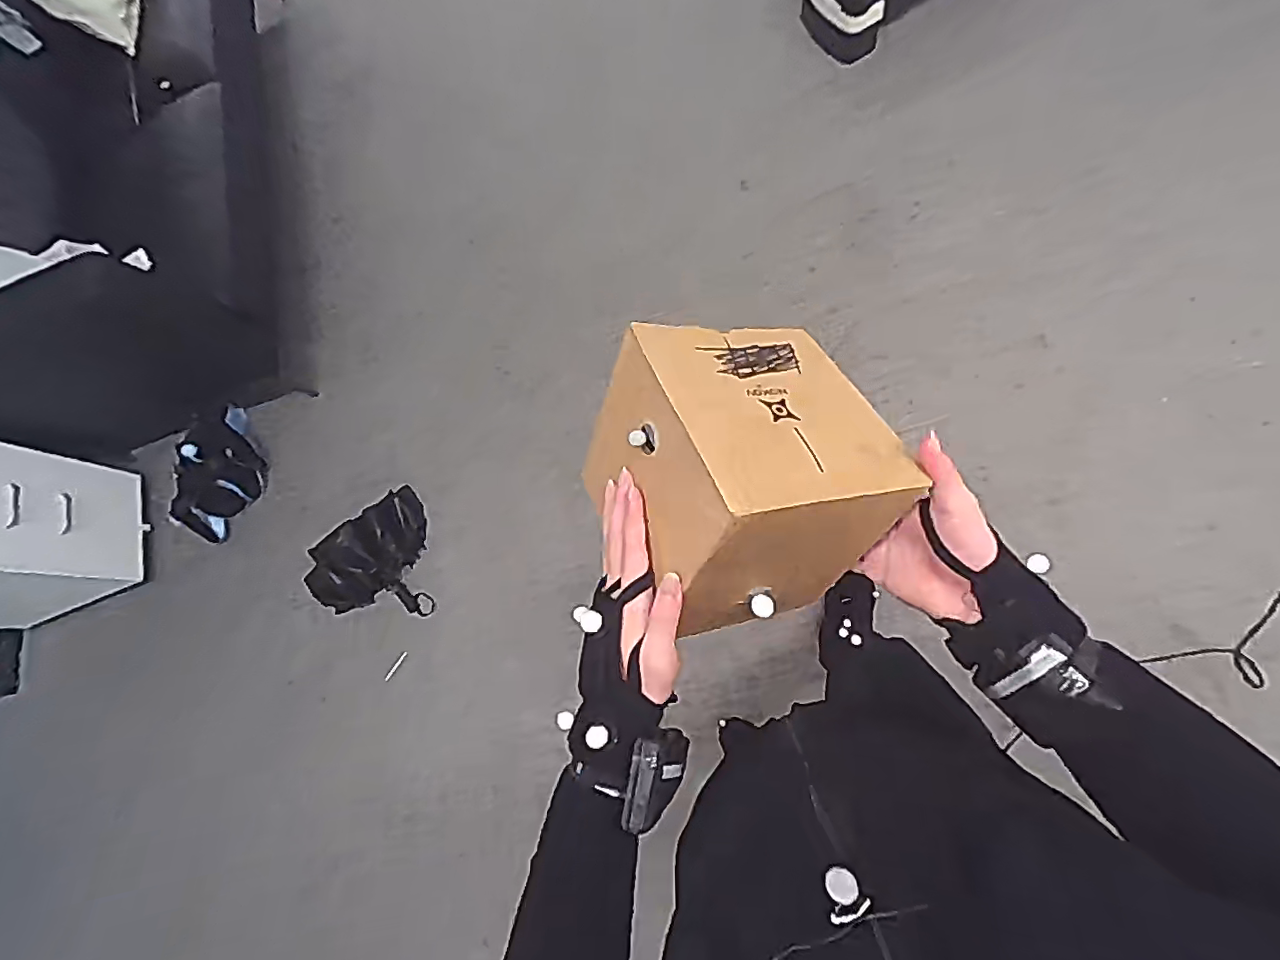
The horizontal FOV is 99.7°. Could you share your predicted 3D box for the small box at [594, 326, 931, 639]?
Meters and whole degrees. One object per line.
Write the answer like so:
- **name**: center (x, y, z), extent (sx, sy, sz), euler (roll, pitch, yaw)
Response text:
- **small box**: center (0.074, 0.000, 0.435), extent (0.168, 0.176, 0.179), euler (-6, 52, -25)
